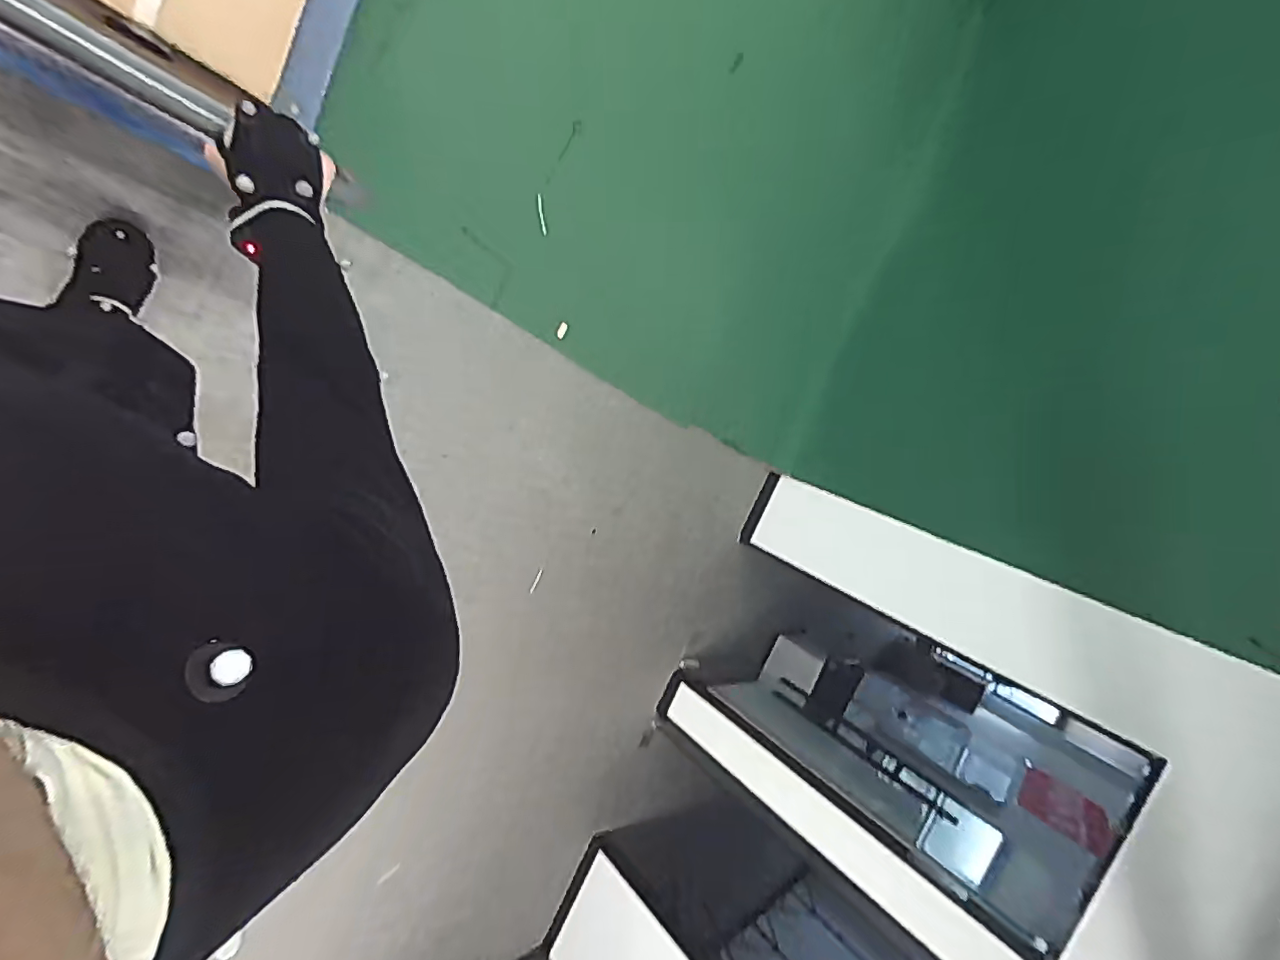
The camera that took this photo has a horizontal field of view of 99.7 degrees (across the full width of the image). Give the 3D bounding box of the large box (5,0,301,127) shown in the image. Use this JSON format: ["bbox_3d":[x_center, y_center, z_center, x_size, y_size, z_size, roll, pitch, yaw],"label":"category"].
[{"bbox_3d":[-0.716,-0.843,0.821,0.320,0.320,0.408,17,97,-48],"label":"large box"}]
